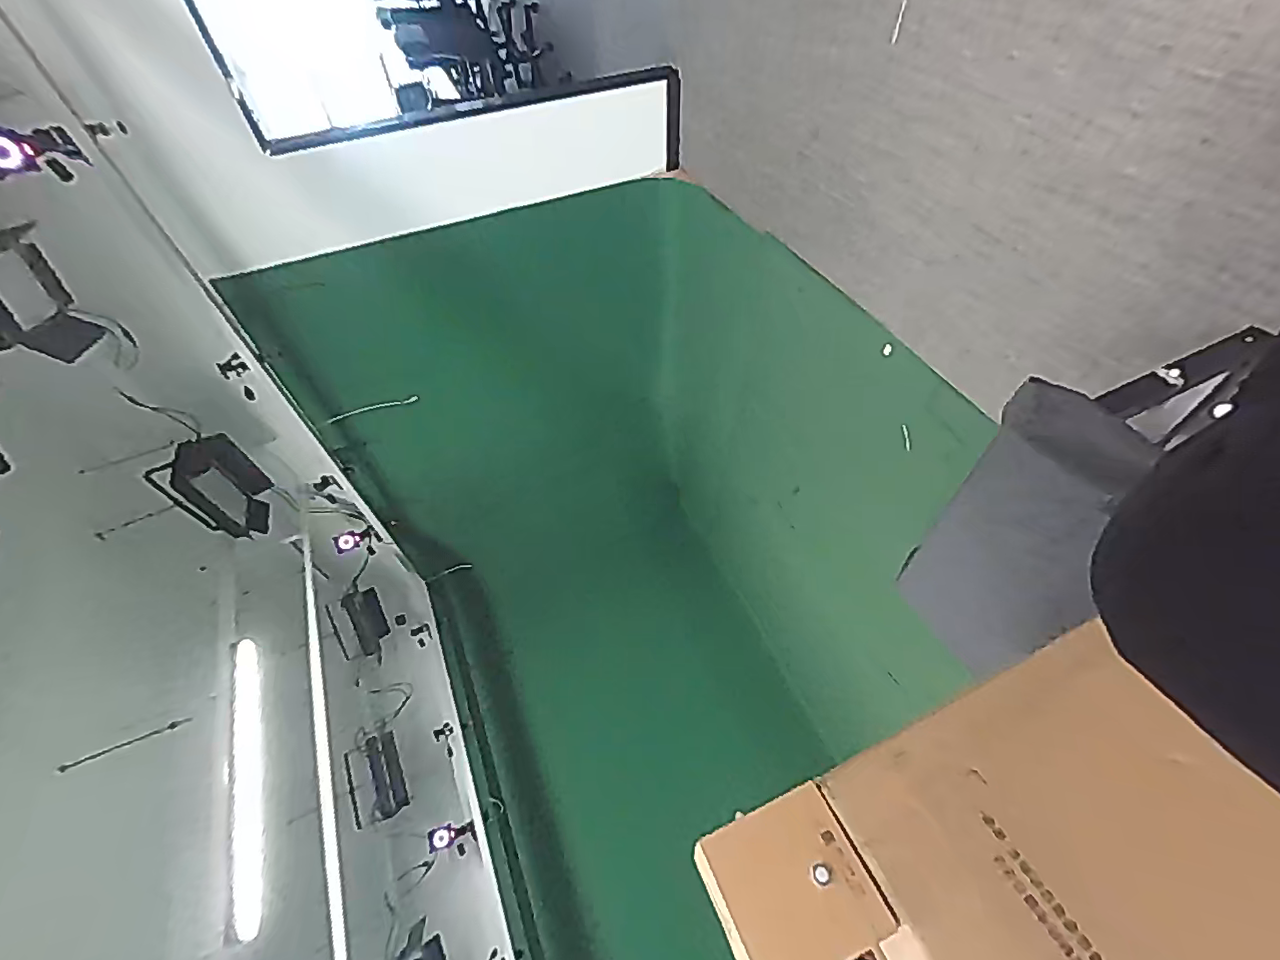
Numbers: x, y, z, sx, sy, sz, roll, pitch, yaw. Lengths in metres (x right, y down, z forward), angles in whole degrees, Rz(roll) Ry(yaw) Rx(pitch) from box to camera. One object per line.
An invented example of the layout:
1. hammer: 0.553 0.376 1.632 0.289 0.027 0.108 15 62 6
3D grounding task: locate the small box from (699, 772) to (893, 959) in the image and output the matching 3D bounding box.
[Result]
1. small box: 0.191 0.511 0.700 0.179 0.176 0.168 87 159 -49
